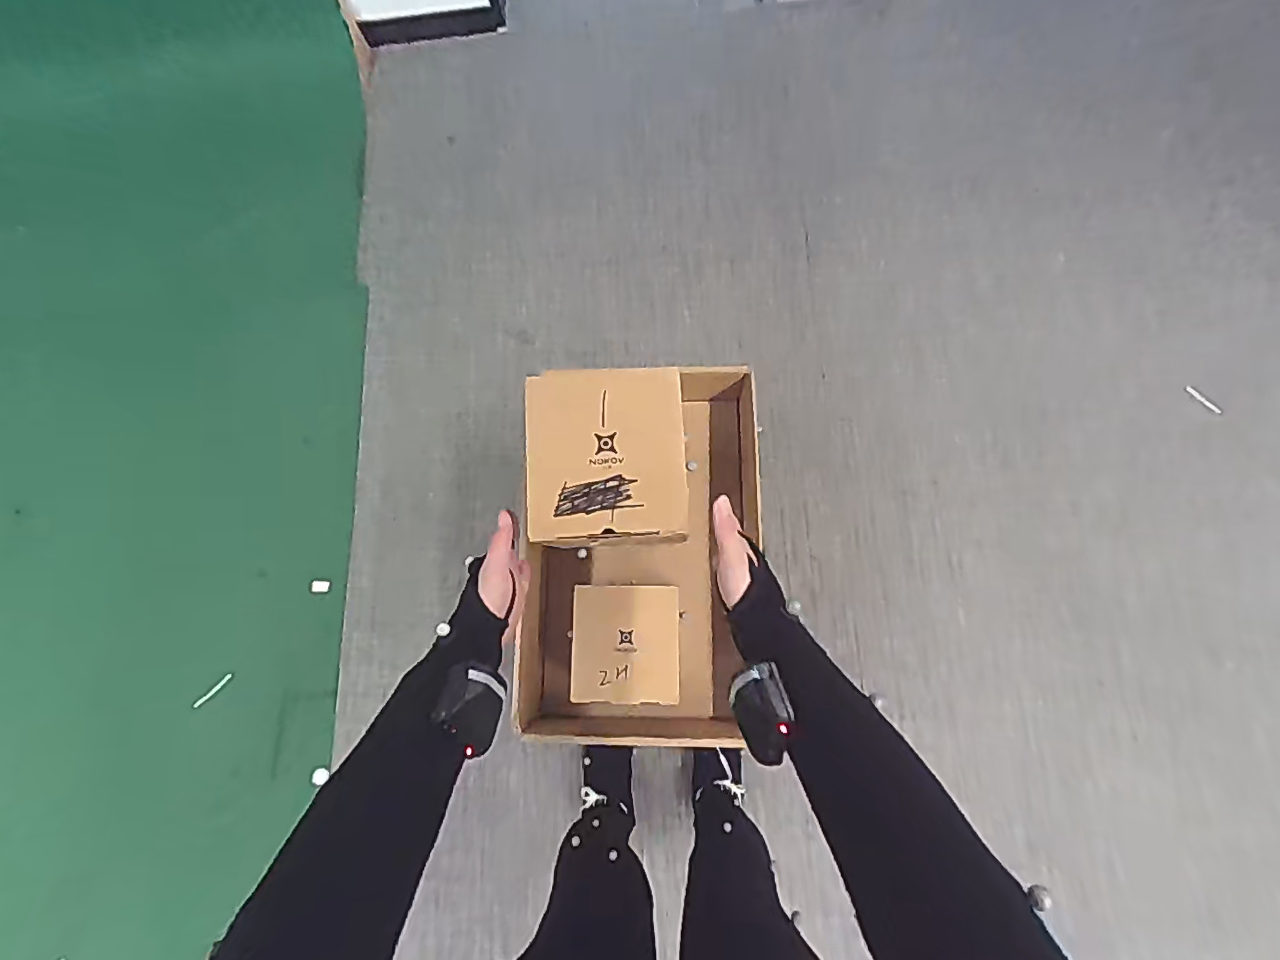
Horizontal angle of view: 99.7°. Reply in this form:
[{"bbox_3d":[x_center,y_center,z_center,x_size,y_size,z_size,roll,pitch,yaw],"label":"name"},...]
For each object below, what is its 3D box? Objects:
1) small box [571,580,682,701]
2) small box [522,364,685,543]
[{"bbox_3d":[-0.015,0.261,0.899,0.168,0.176,0.179,0,77,5],"label":"small box"},{"bbox_3d":[-0.034,-0.018,0.632,0.168,0.176,0.179,-4,79,3],"label":"small box"}]
